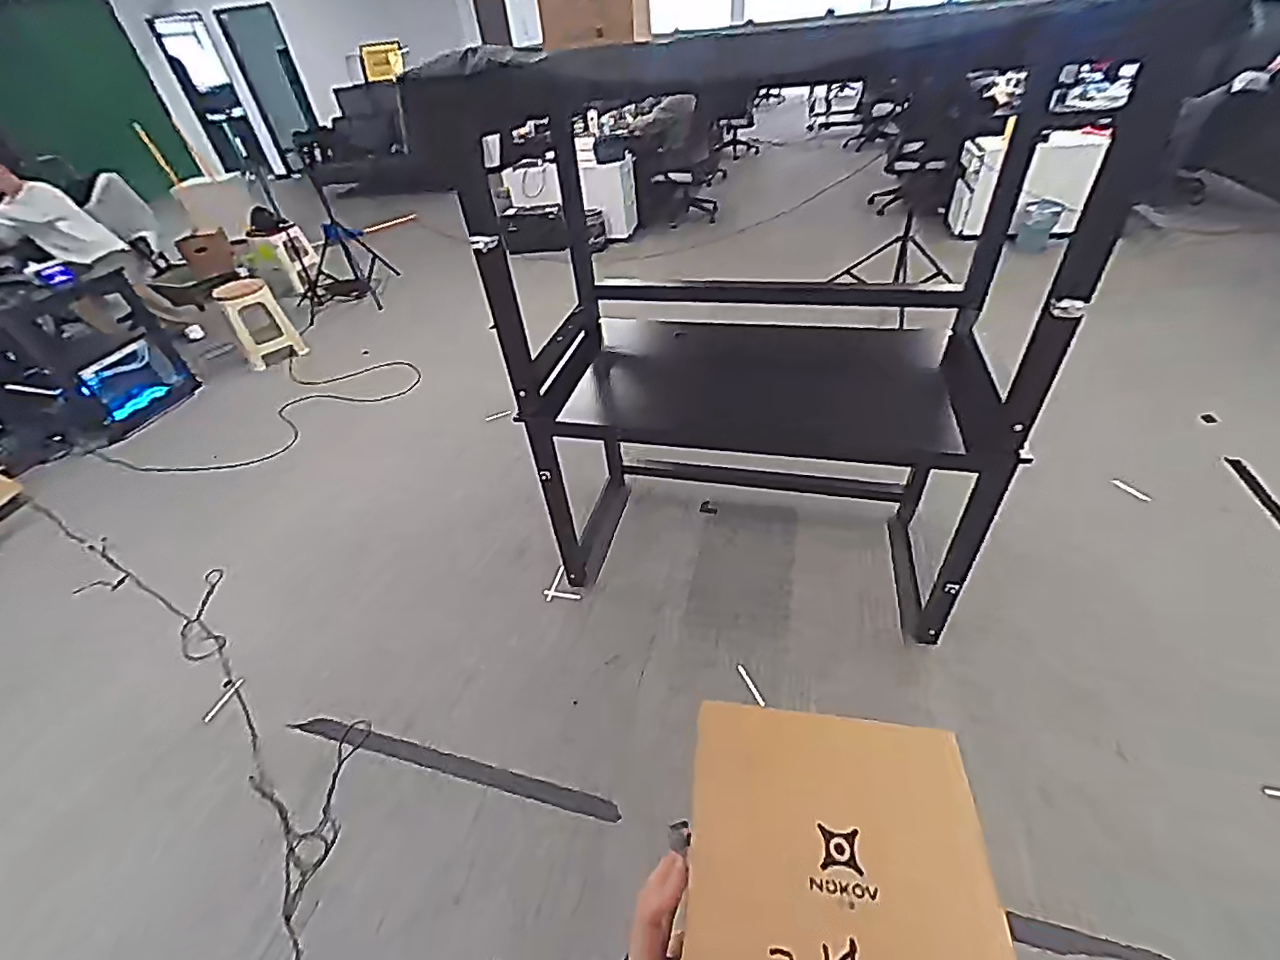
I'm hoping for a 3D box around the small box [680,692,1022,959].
[{"bbox_3d":[0.114,0.269,0.350,0.168,0.176,0.179,4,42,8],"label":"small box"}]

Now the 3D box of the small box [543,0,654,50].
[{"bbox_3d":[-0.070,-0.856,0.931,0.168,0.176,0.179,4,41,11],"label":"small box"}]
